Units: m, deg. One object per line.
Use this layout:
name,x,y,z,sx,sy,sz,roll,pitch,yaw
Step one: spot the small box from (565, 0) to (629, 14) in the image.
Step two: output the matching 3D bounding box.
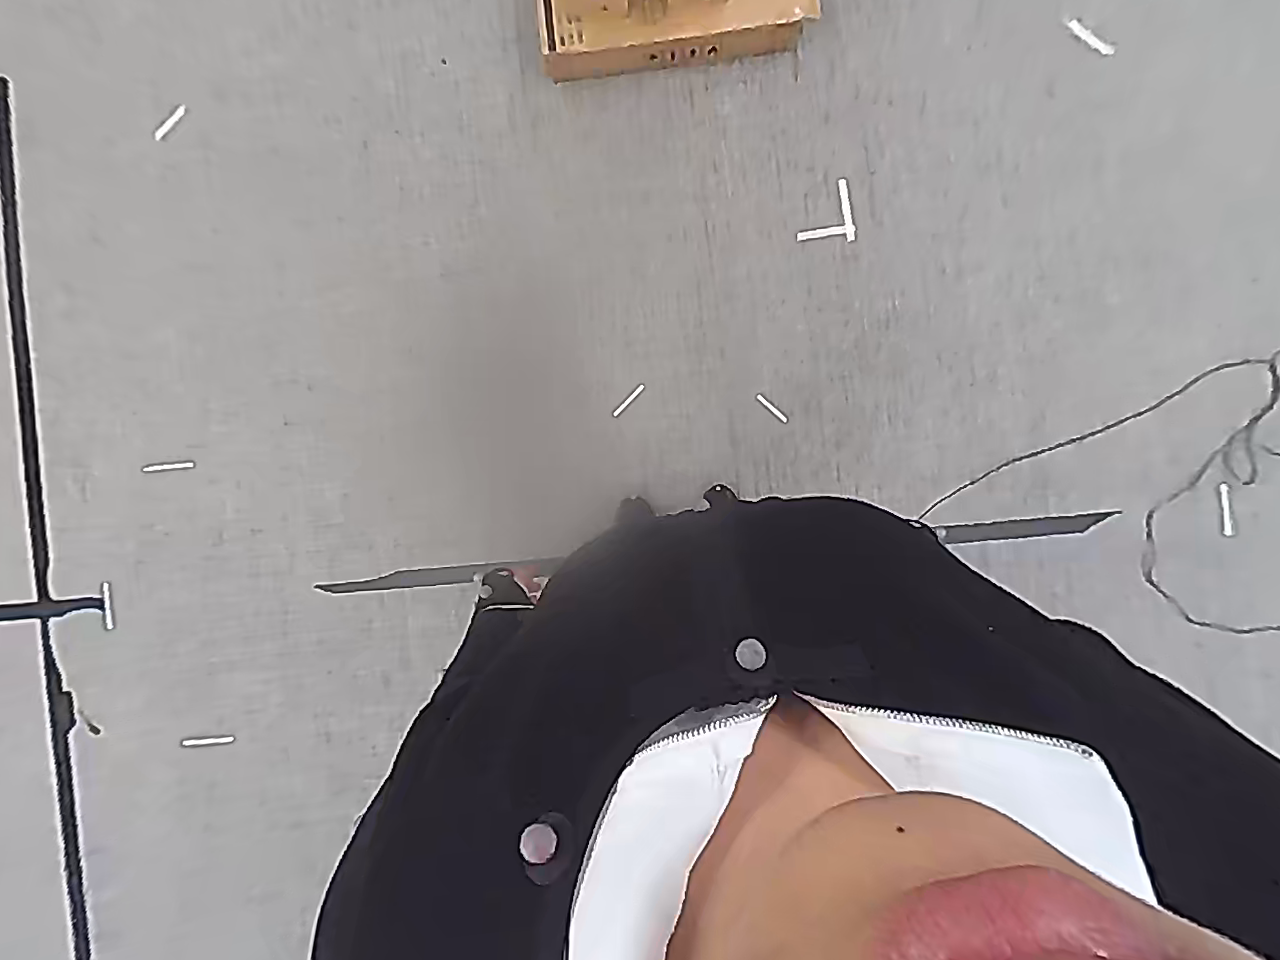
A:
small box,-0.121,-1.315,1.350,0.168,0.176,0.179,-6,90,2

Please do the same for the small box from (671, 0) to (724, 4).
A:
small box,0.147,-1.341,1.340,0.168,0.176,0.179,-2,89,3
